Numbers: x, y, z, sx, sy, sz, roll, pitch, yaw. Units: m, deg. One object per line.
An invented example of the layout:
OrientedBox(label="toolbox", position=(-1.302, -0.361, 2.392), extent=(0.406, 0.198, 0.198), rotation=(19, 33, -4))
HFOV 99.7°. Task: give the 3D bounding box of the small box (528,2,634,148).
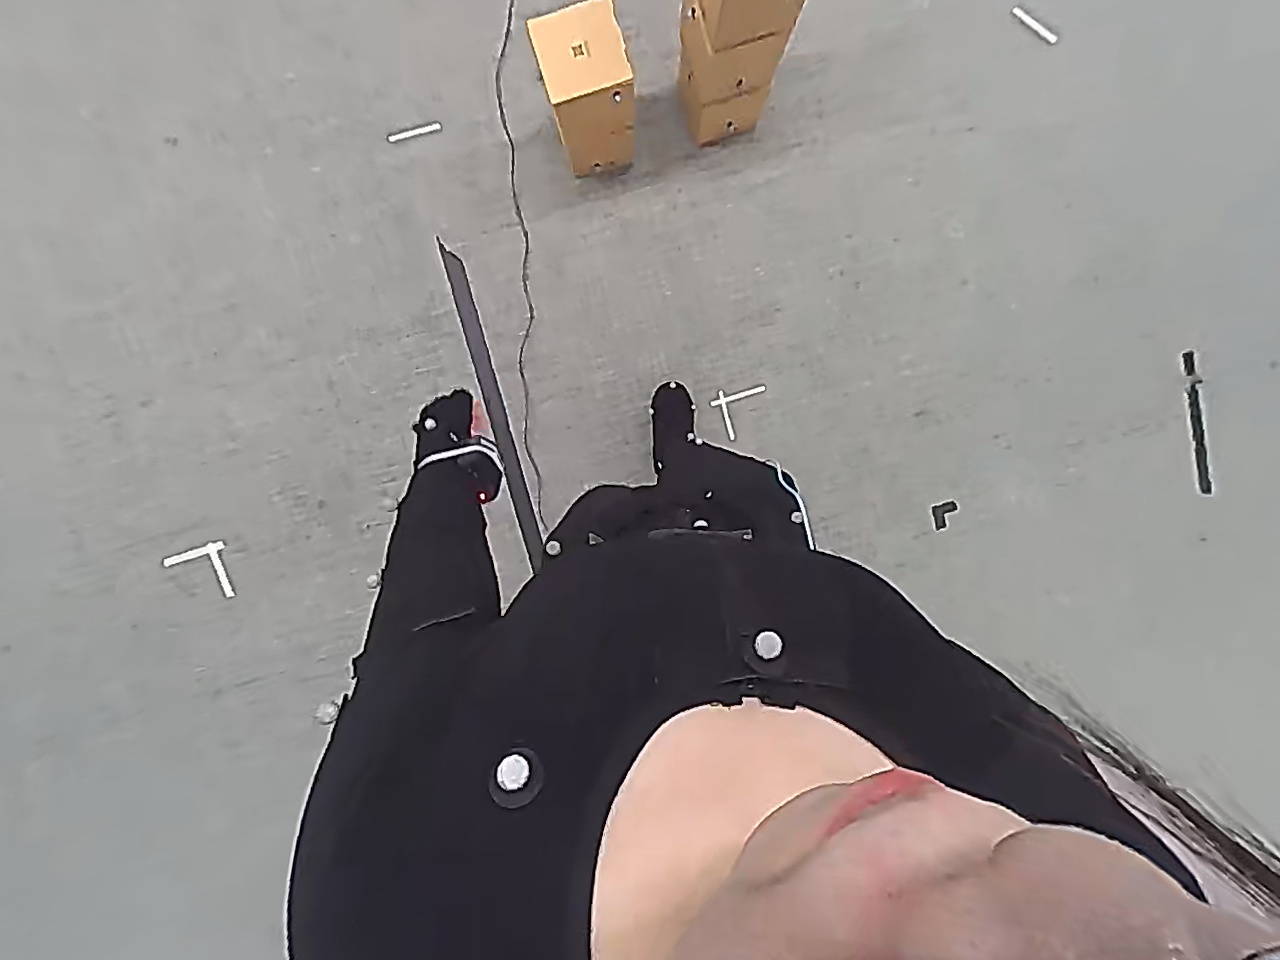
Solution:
OrientedBox(label="small box", position=(-0.117, -0.848, 1.154), extent=(0.179, 0.176, 0.168), rotation=(-17, 95, 1))

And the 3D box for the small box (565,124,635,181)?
OrientedBox(label="small box", position=(-0.111, -0.867, 1.315), extent=(0.168, 0.176, 0.179), rotation=(-13, 96, 1))

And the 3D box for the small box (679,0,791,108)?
OrientedBox(label="small box", position=(0.193, -0.939, 1.145), extent=(0.179, 0.176, 0.168), rotation=(-18, 95, 0))

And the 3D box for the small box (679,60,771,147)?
OrientedBox(label="small box", position=(0.198, -0.955, 1.309), extent=(0.168, 0.176, 0.179), rotation=(-17, 96, 1))
